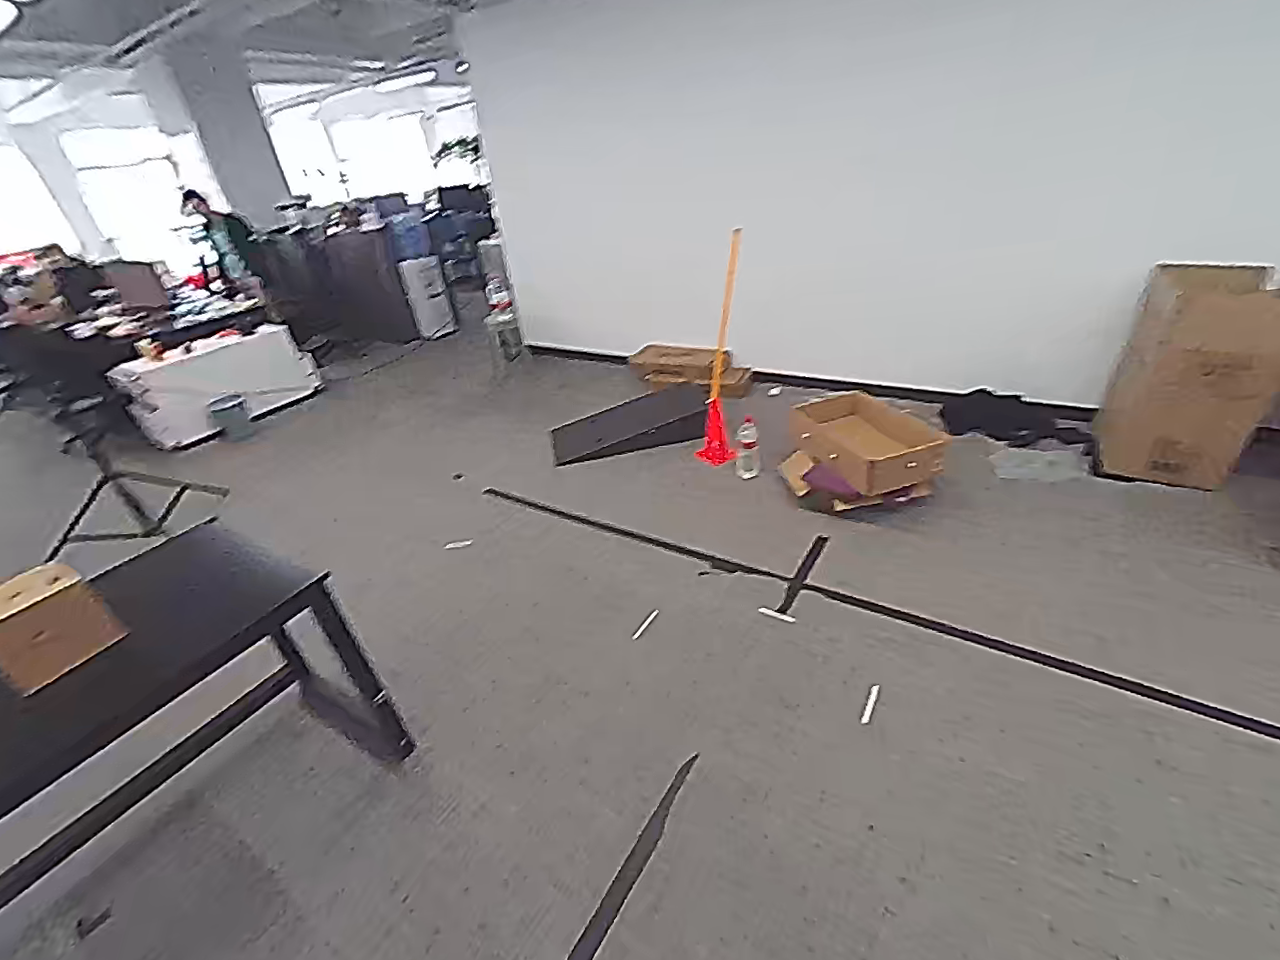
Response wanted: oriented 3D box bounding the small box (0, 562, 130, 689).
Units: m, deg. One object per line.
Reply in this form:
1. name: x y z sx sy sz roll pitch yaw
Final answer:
1. small box: -1.263 0.308 1.151 0.168 0.176 0.179 11 36 27
